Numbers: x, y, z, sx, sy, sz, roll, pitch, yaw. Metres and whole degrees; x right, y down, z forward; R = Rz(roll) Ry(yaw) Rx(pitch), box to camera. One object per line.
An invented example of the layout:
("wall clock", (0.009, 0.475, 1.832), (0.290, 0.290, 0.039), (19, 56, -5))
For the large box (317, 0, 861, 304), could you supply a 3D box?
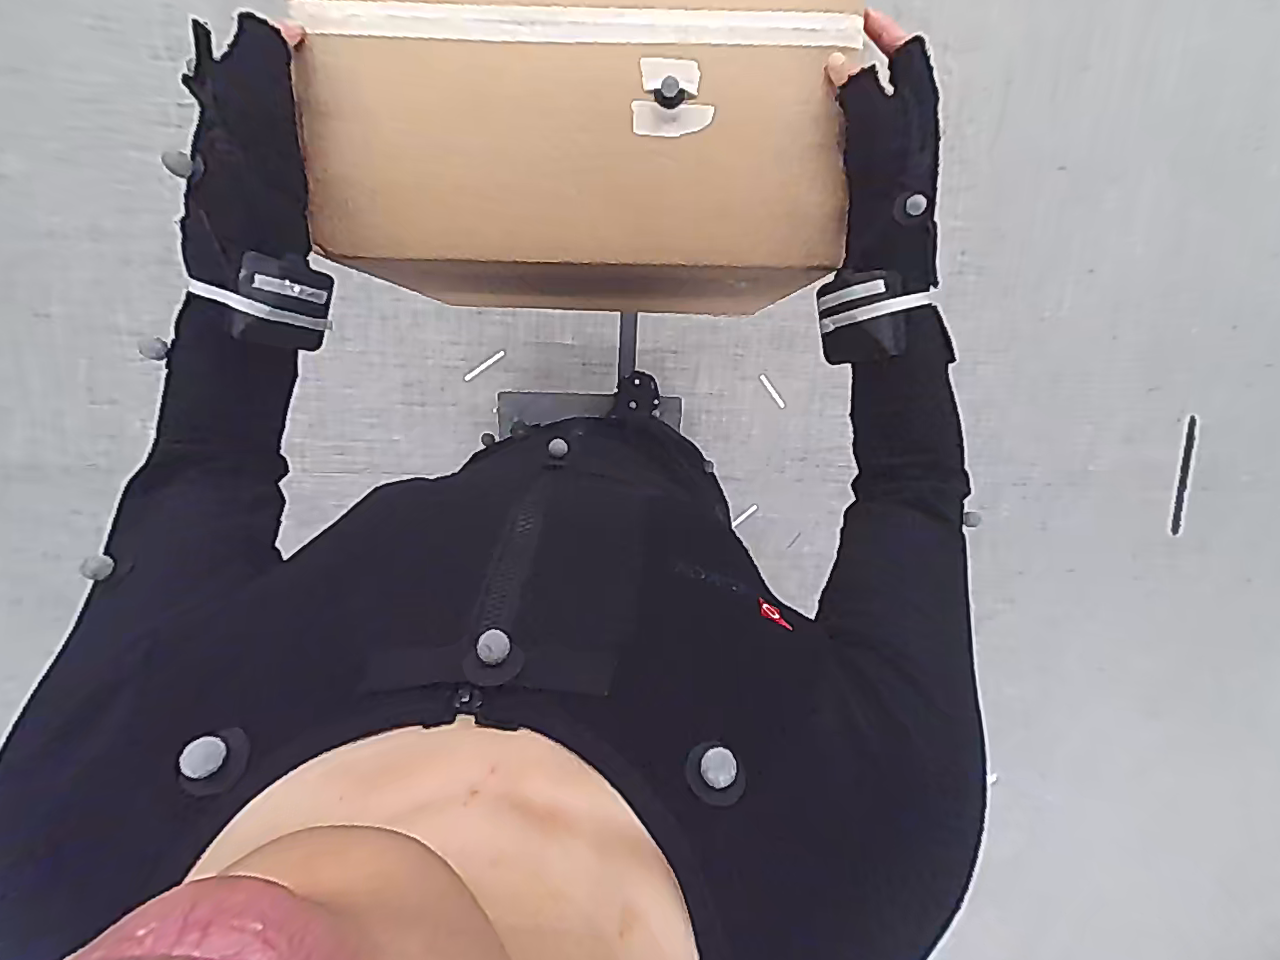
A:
("large box", (-0.041, -0.358, 0.542), (0.408, 0.320, 0.320), (1, 101, -1))
